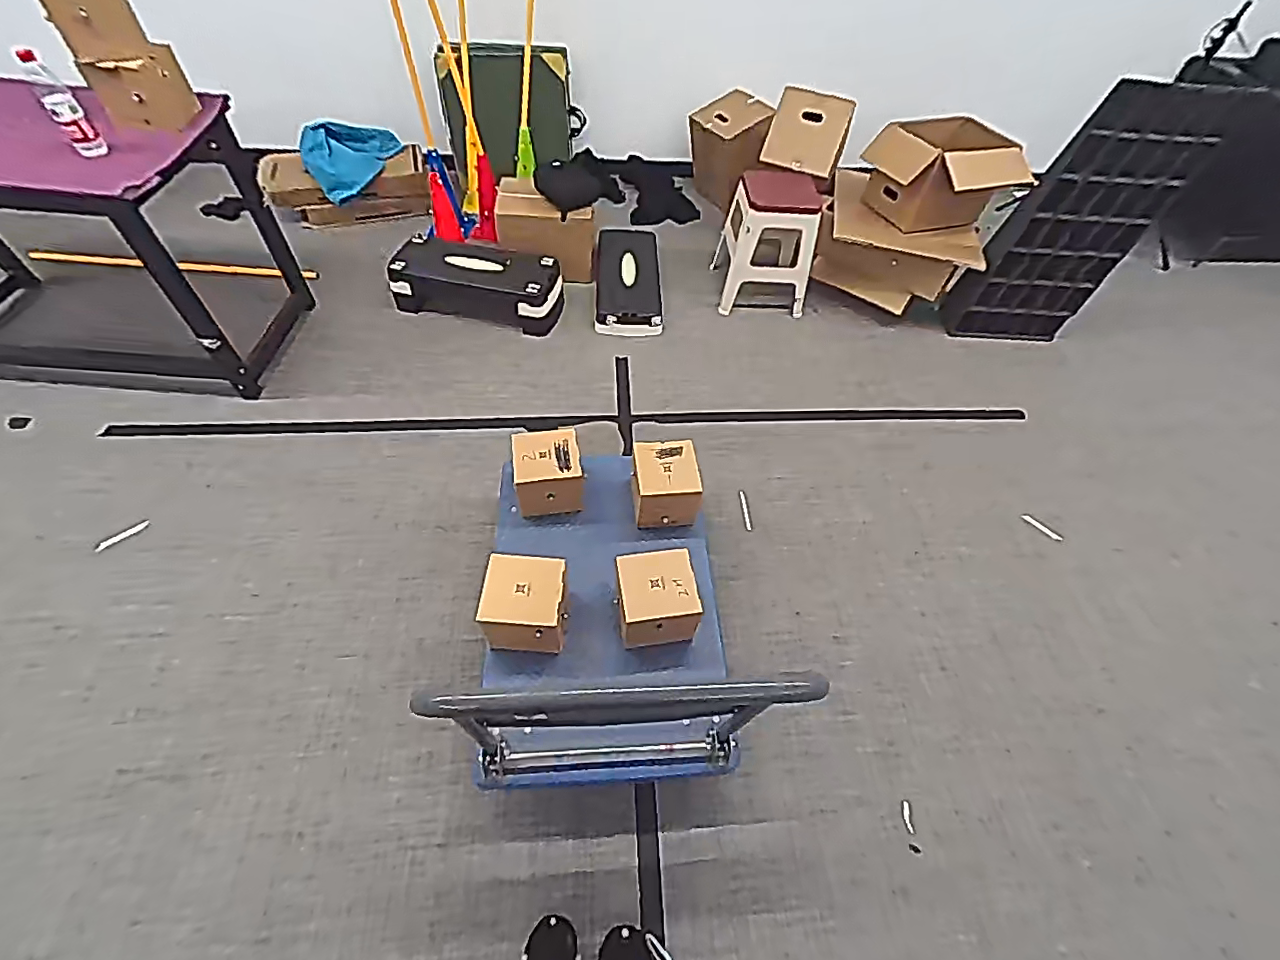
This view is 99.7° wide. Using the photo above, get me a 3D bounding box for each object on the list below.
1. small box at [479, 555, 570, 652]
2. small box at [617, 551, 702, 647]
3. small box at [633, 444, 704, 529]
[{"bbox_3d":[-0.263,0.295,1.276,0.179,0.176,0.168,5,53,-3],"label":"small box"},{"bbox_3d":[0.040,0.291,1.304,0.179,0.176,0.168,-5,55,-8],"label":"small box"},{"bbox_3d":[0.072,0.019,1.505,0.168,0.176,0.179,-3,55,-7],"label":"small box"}]
